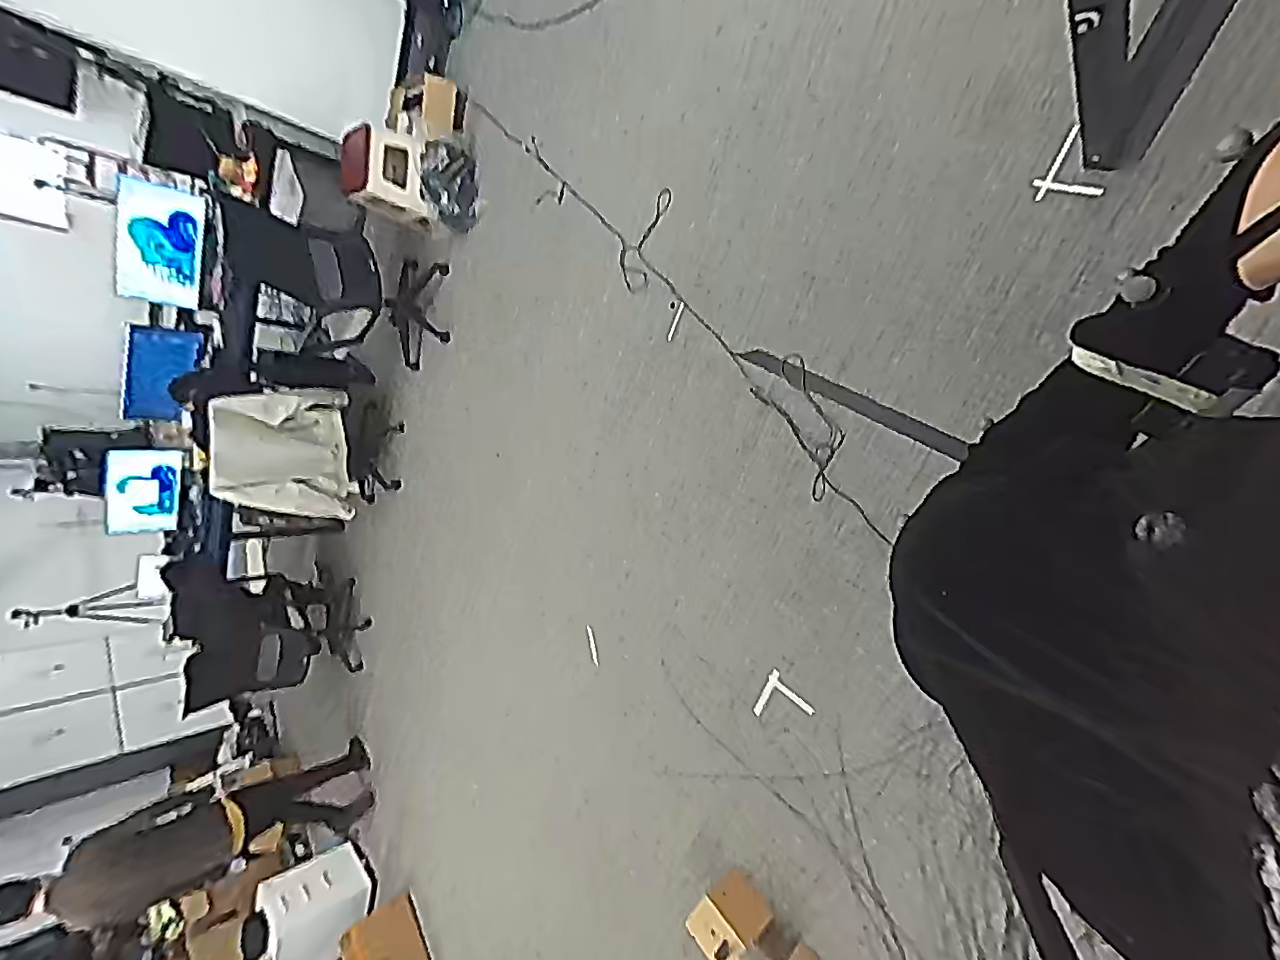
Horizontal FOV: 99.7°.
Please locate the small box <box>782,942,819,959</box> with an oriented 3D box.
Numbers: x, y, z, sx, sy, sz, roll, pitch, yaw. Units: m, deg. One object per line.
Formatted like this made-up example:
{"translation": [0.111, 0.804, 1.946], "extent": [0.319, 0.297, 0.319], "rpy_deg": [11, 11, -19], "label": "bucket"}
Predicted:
{"translation": [0.458, 1.511, 1.566], "extent": [0.168, 0.176, 0.179], "rpy_deg": [39, 115, 33], "label": "small box"}
